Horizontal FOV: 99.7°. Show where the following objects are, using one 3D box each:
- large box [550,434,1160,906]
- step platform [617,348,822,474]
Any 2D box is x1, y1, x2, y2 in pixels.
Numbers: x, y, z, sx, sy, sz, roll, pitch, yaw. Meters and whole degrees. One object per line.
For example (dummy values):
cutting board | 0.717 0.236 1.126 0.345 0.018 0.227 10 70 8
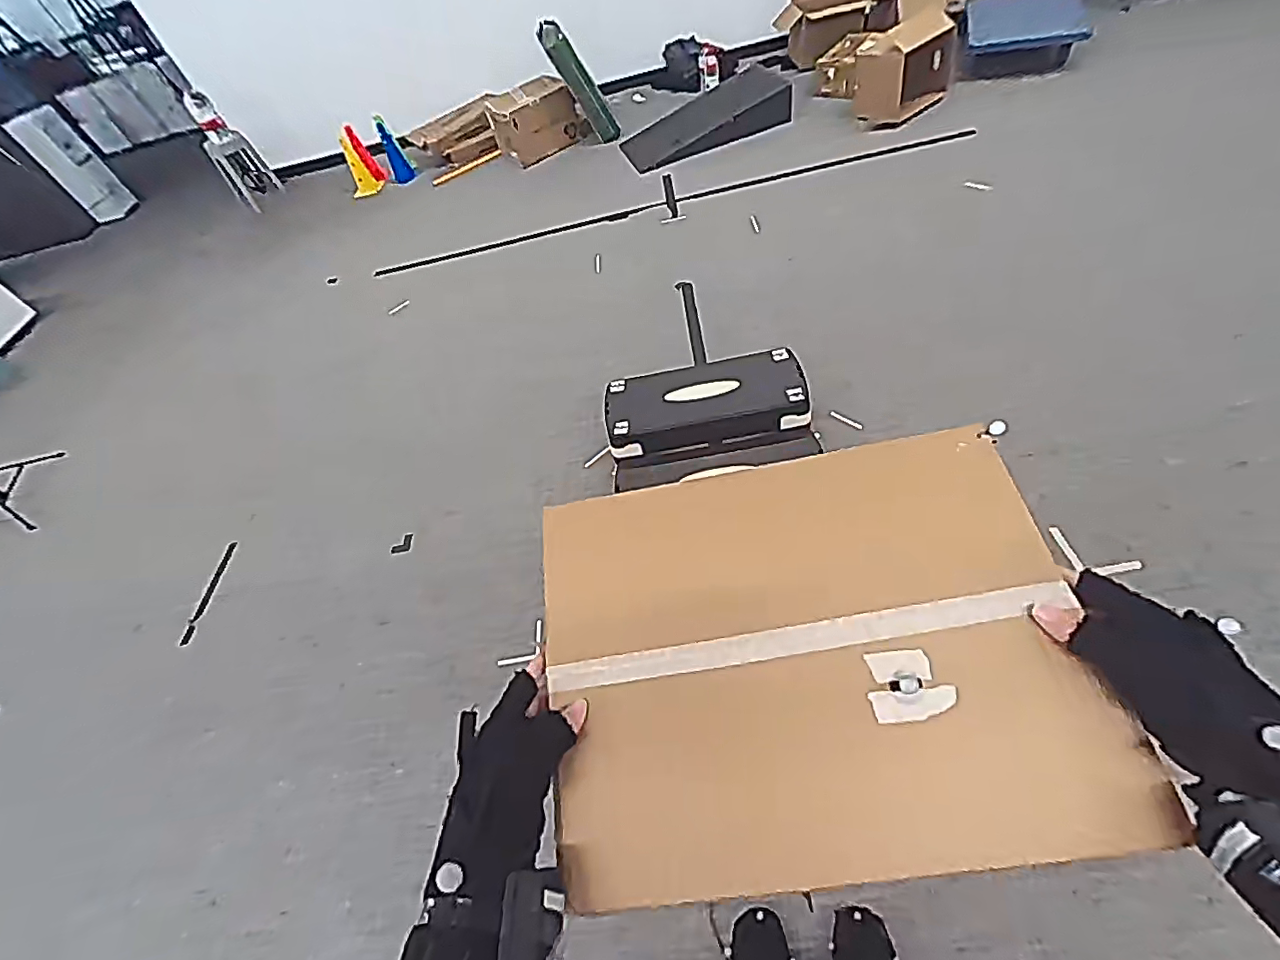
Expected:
large box | 0.150 0.198 0.566 0.408 0.320 0.320 -12 62 6
step platform | 0.262 -0.239 1.862 0.684 0.204 0.286 -11 52 6
